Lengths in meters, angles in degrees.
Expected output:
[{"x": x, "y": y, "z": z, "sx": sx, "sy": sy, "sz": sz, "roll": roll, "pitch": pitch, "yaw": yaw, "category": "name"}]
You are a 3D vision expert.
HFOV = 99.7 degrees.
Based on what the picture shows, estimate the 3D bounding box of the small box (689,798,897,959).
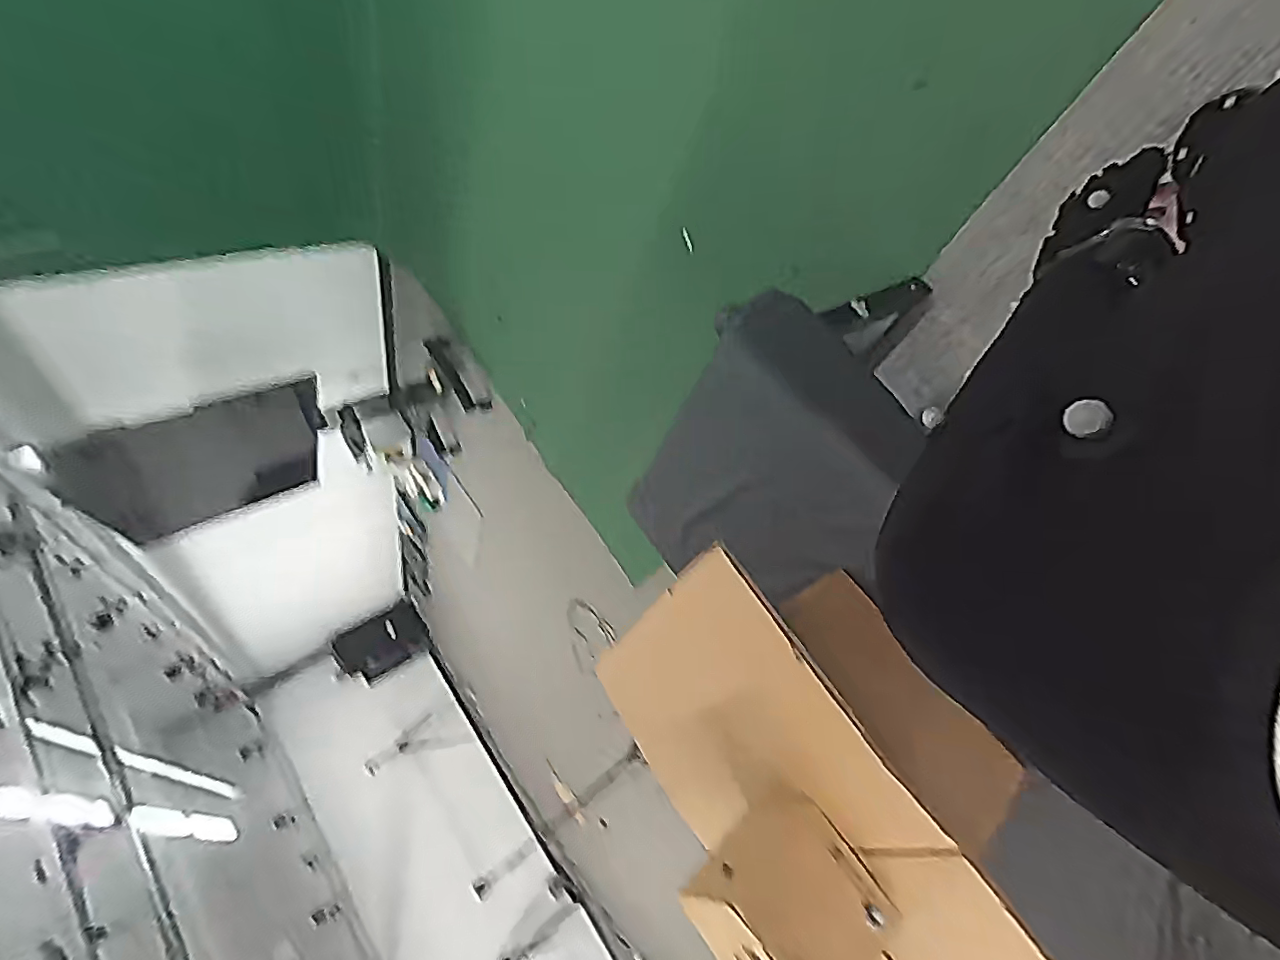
[{"x": 0.201, "y": 0.547, "z": 0.705, "sx": 0.168, "sy": 0.176, "sz": 0.179, "roll": 51, "pitch": 145, "yaw": 16, "category": "small box"}]
